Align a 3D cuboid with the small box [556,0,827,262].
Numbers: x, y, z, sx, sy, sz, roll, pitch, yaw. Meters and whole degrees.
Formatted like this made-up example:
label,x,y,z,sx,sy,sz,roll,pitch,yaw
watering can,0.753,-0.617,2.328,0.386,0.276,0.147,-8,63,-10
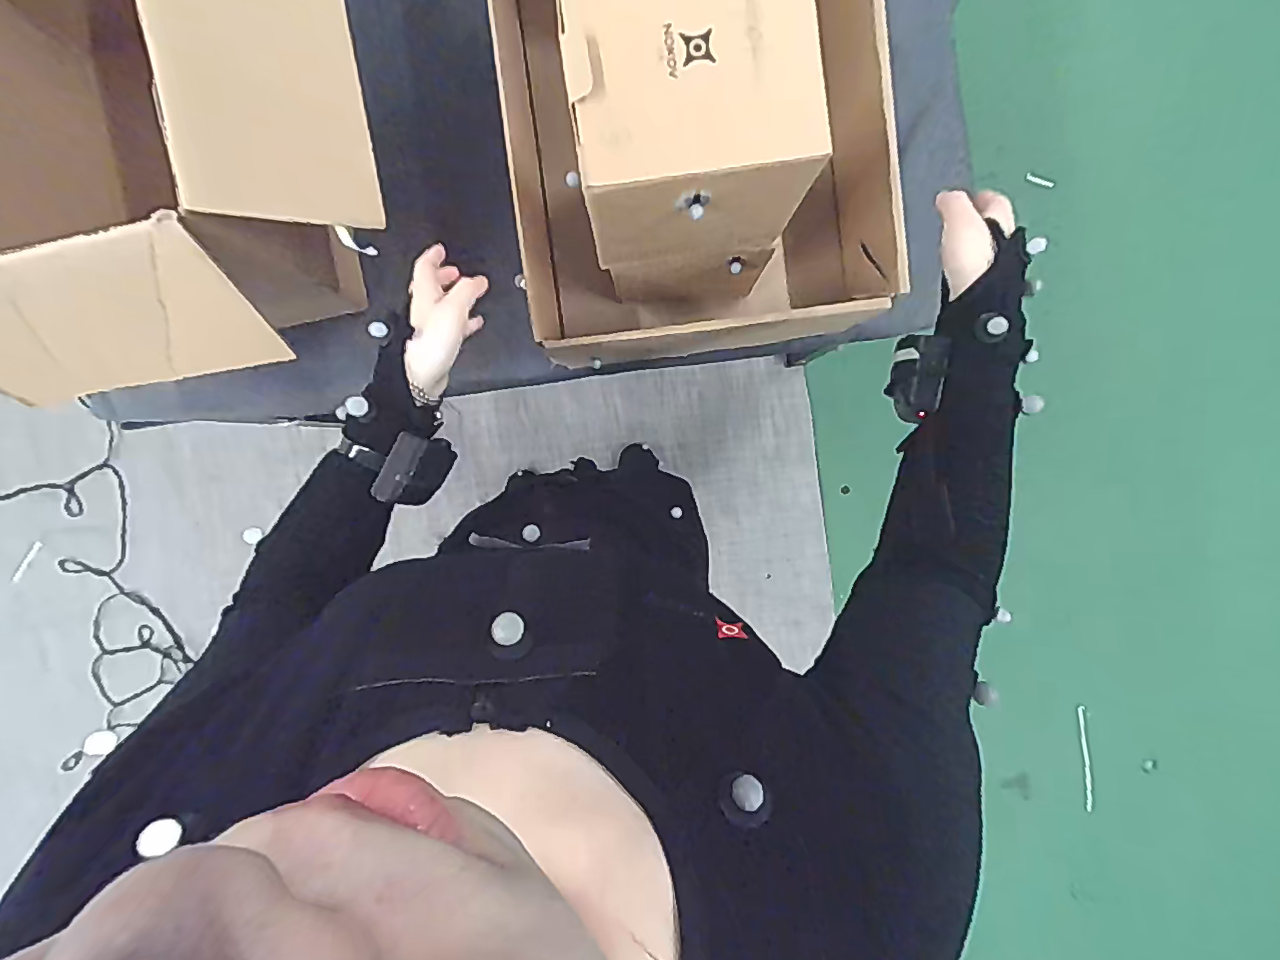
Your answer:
label,x,y,z,sx,sy,sz,roll,pitch,yaw
small box,0.036,-0.298,0.454,0.179,0.176,0.168,-8,95,0
